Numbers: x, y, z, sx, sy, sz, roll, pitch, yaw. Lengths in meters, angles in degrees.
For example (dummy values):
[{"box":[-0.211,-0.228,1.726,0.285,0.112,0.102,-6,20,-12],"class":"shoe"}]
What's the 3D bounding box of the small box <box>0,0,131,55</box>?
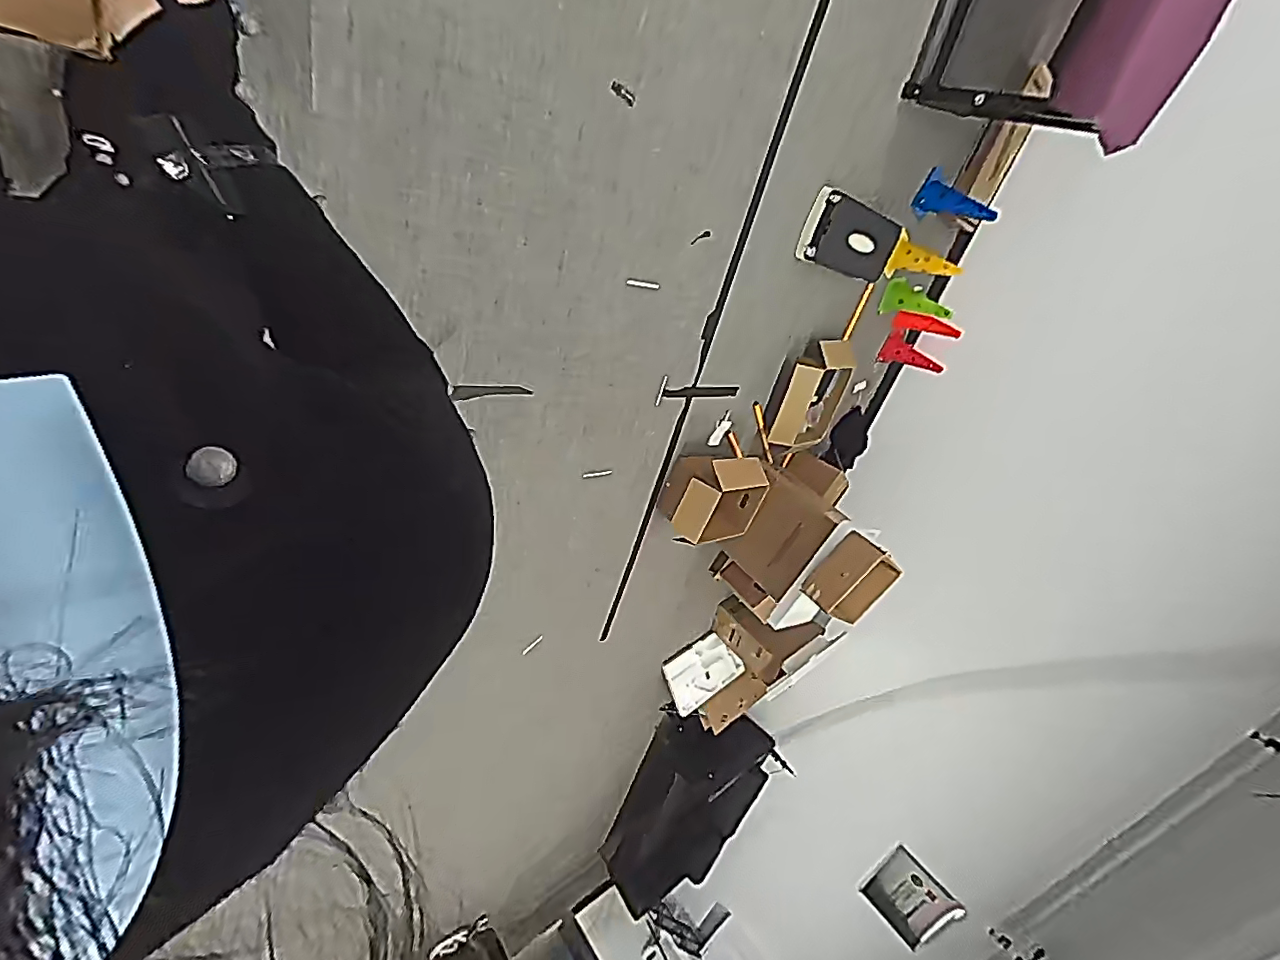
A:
[{"box":[-0.452,-0.411,0.342,0.168,0.176,0.179,-4,128,-35],"class":"small box"}]
